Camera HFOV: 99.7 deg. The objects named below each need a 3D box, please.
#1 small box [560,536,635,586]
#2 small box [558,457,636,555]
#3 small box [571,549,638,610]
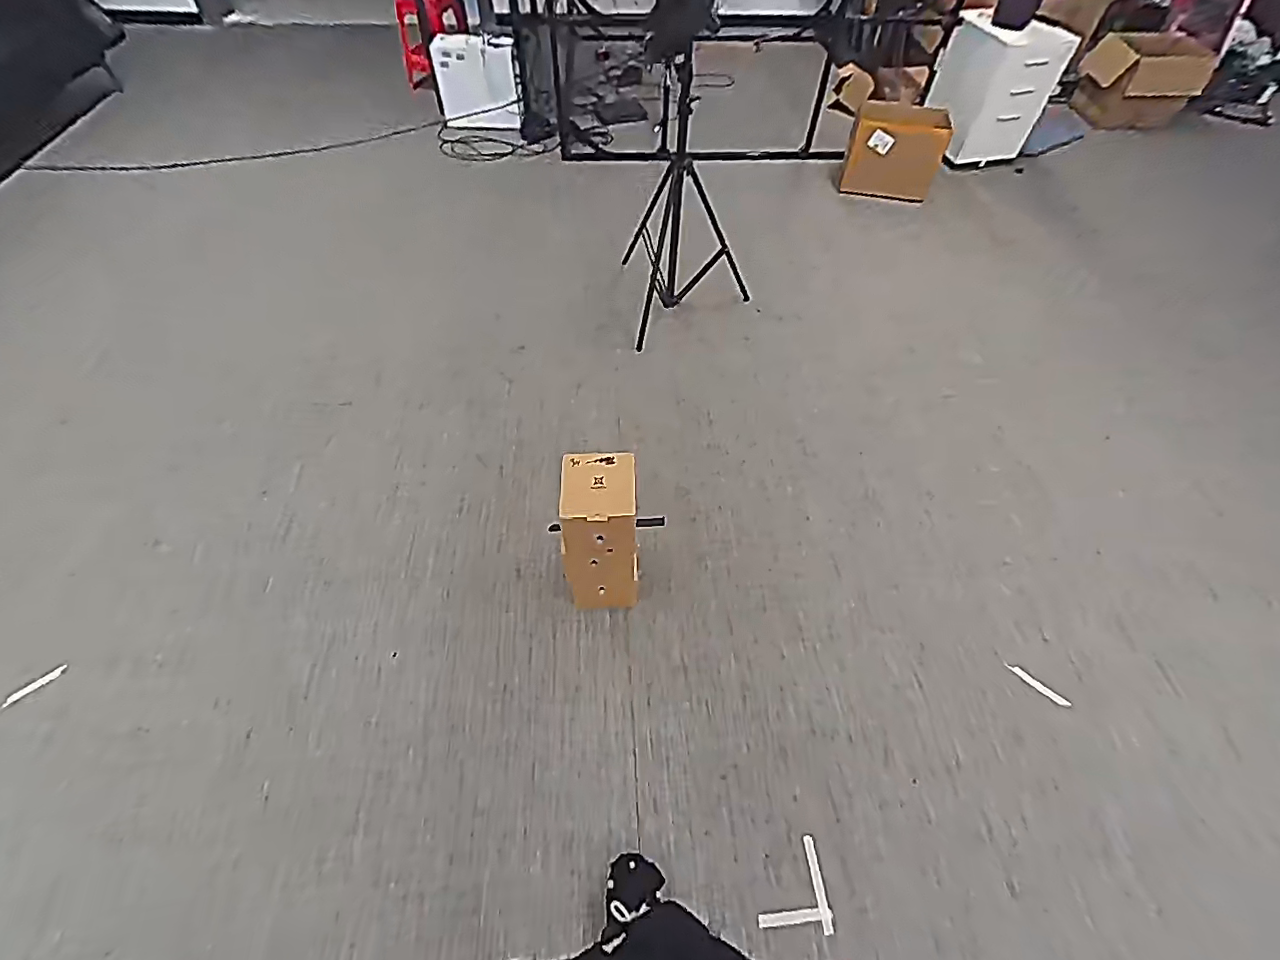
[{"bbox_3d":[-0.103,0.164,1.382,0.179,0.176,0.168,0,55,-1],"label":"small box"},{"bbox_3d":[-0.092,0.066,1.251,0.168,0.176,0.179,-1,55,-1],"label":"small box"},{"bbox_3d":[-0.098,0.257,1.518,0.179,0.176,0.168,-2,55,-2],"label":"small box"}]
